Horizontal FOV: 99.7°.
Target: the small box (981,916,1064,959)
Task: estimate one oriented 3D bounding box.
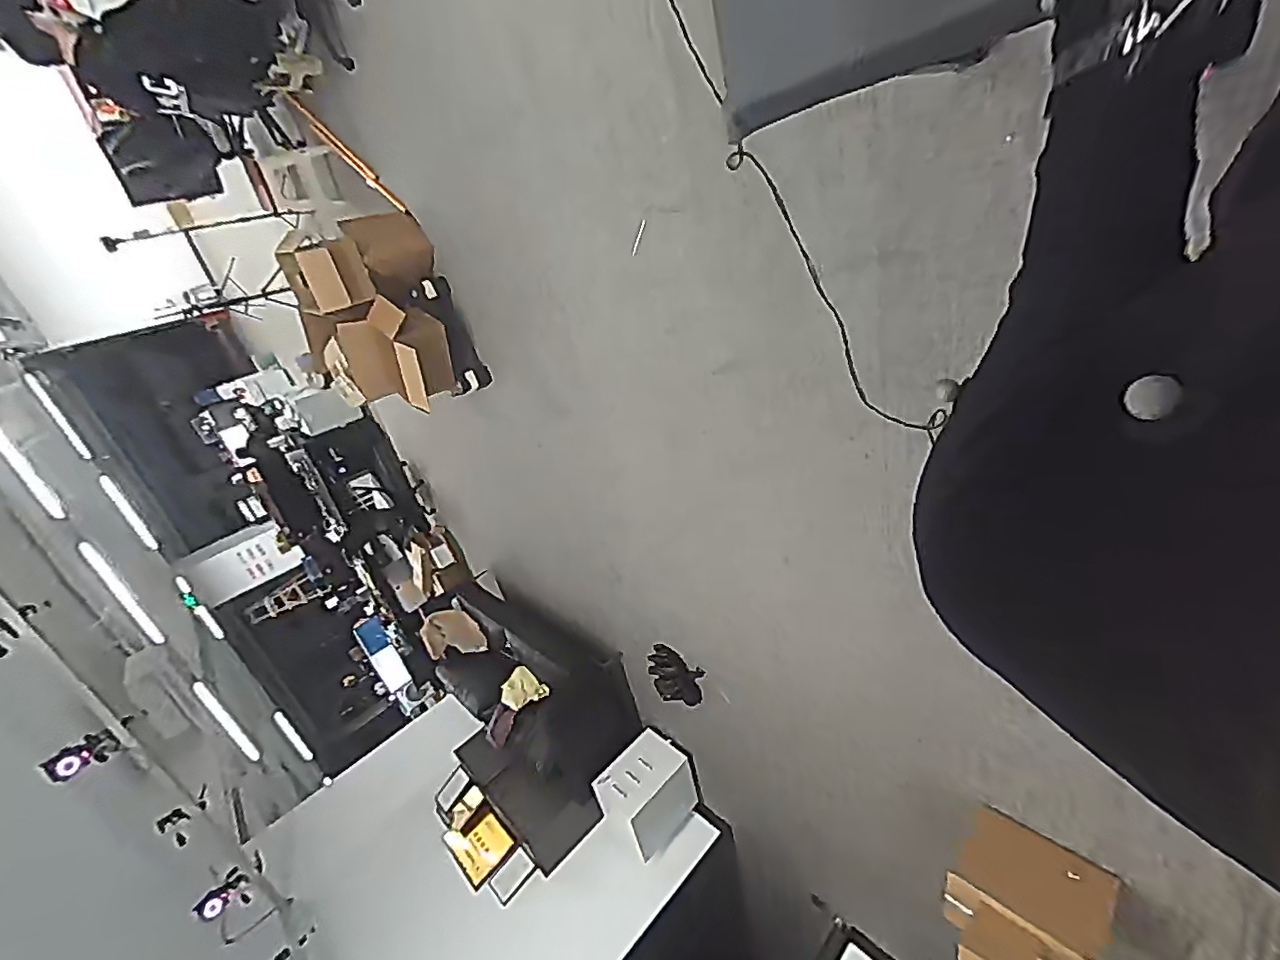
[{"bbox_3d":[1.179,1.517,1.667,0.179,0.176,0.168,16,127,49],"label":"small box"}]
